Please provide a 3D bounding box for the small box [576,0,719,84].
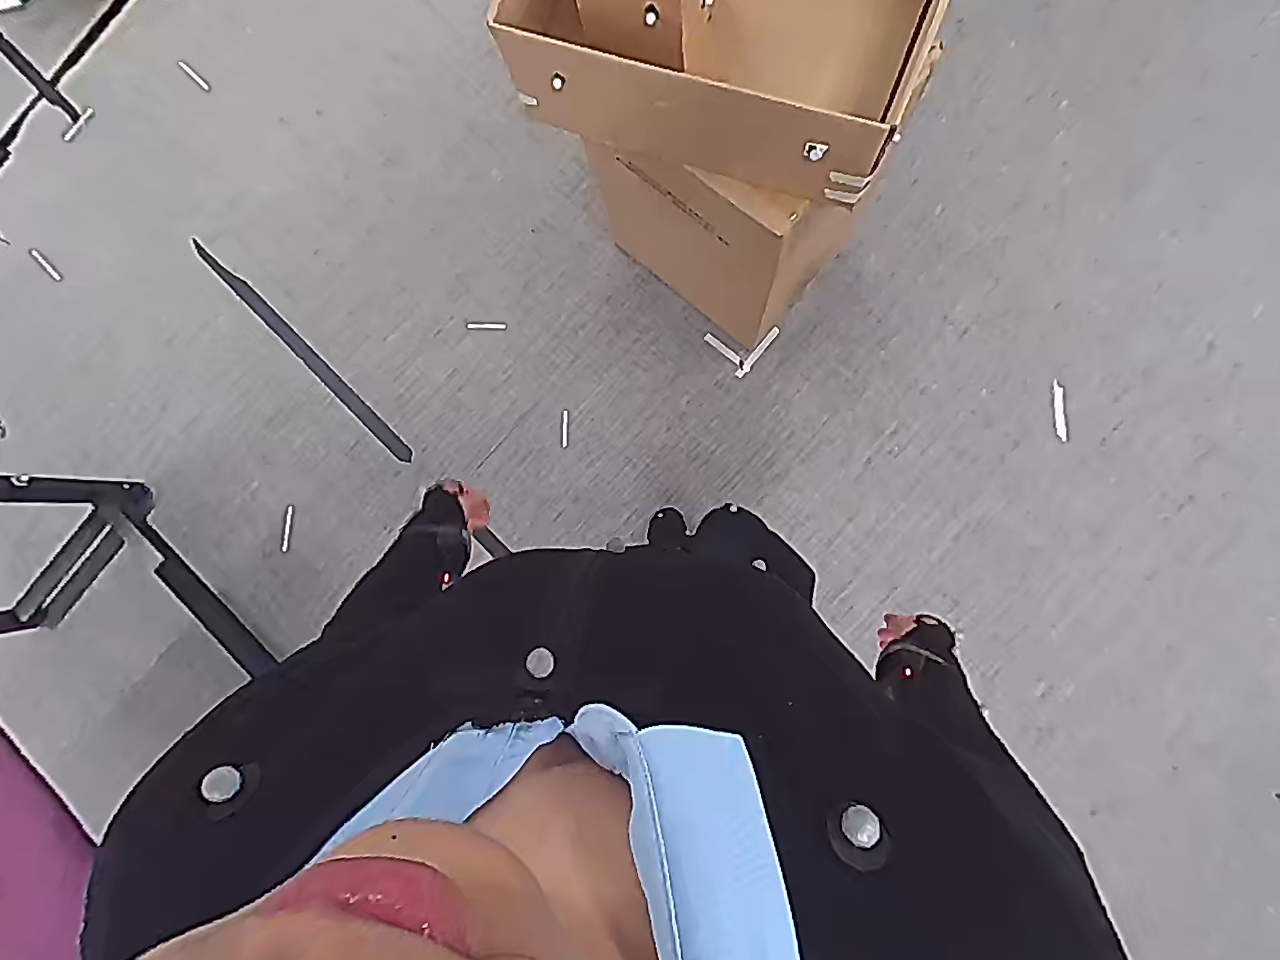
[{"bbox_3d":[0.018,-0.753,0.822,0.179,0.176,0.168,22,90,8],"label":"small box"}]
